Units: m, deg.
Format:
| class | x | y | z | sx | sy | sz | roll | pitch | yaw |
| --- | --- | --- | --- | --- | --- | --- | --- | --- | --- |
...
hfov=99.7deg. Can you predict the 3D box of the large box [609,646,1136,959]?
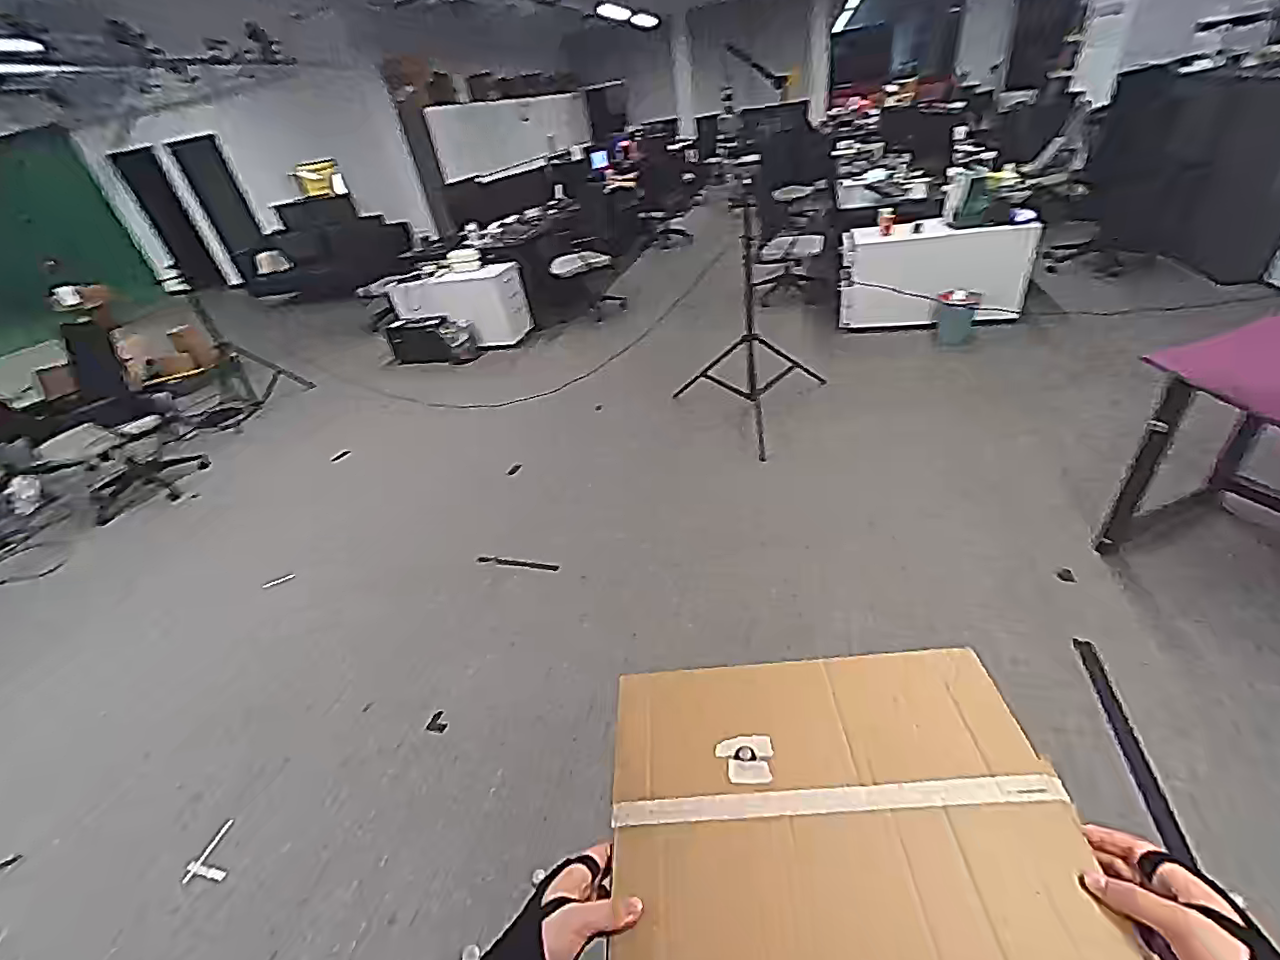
| class | x | y | z | sx | sy | sz | roll | pitch | yaw |
| --- | --- | --- | --- | --- | --- | --- | --- | --- | --- |
| large box | 0.197 | 0.427 | 0.602 | 0.408 | 0.320 | 0.320 | -9 | 34 | 6 |
